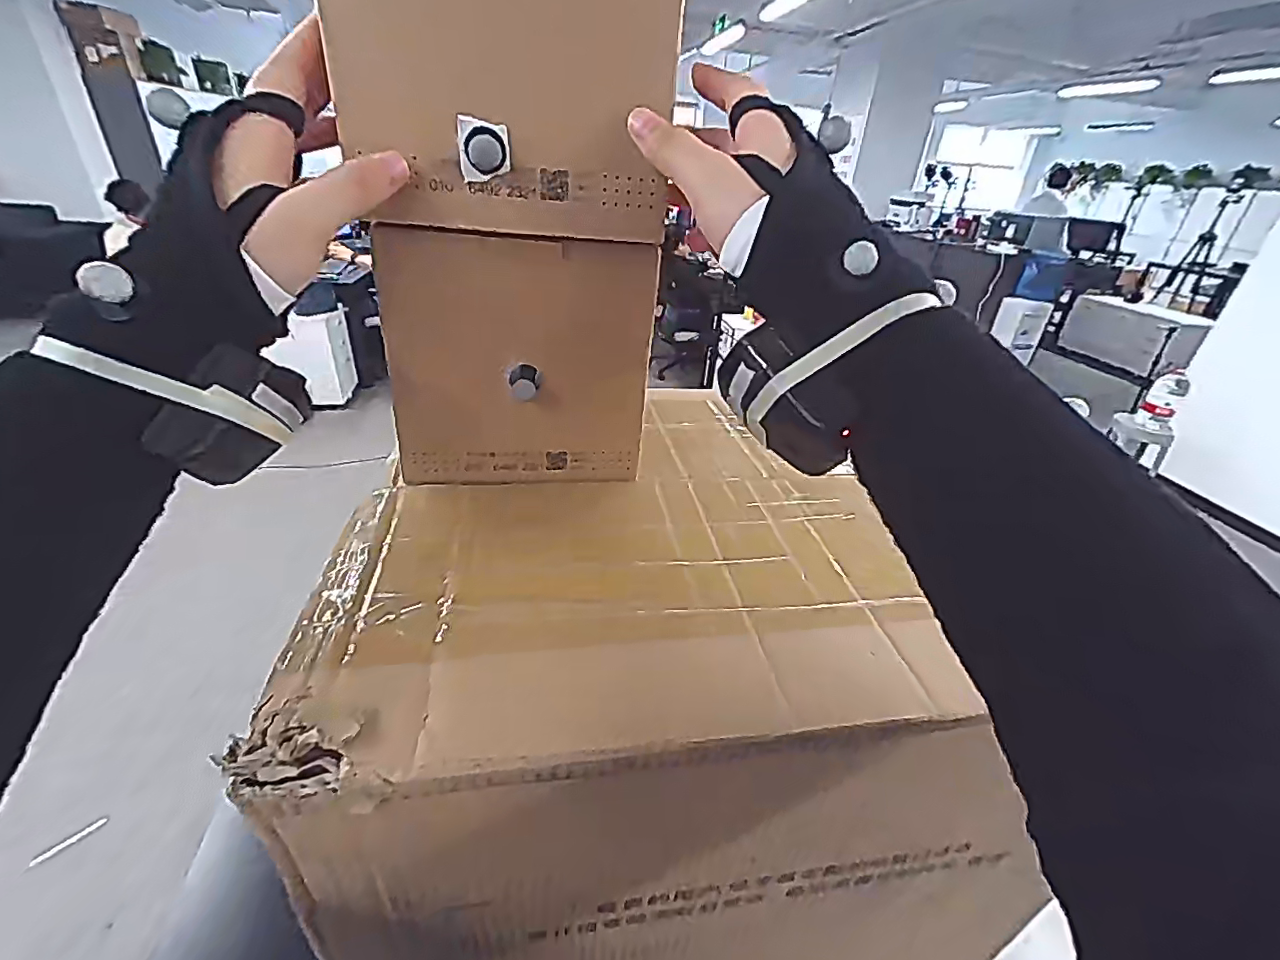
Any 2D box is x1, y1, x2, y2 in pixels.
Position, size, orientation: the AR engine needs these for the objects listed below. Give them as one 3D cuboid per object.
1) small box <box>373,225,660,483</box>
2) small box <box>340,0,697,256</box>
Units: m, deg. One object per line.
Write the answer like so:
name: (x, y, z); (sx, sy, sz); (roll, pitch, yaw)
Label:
small box: (-0.086, -0.107, 0.417); (0.168, 0.176, 0.179); (-1, 31, -11)
small box: (-0.068, -0.240, 0.323); (0.168, 0.176, 0.179); (-1, 31, -9)
